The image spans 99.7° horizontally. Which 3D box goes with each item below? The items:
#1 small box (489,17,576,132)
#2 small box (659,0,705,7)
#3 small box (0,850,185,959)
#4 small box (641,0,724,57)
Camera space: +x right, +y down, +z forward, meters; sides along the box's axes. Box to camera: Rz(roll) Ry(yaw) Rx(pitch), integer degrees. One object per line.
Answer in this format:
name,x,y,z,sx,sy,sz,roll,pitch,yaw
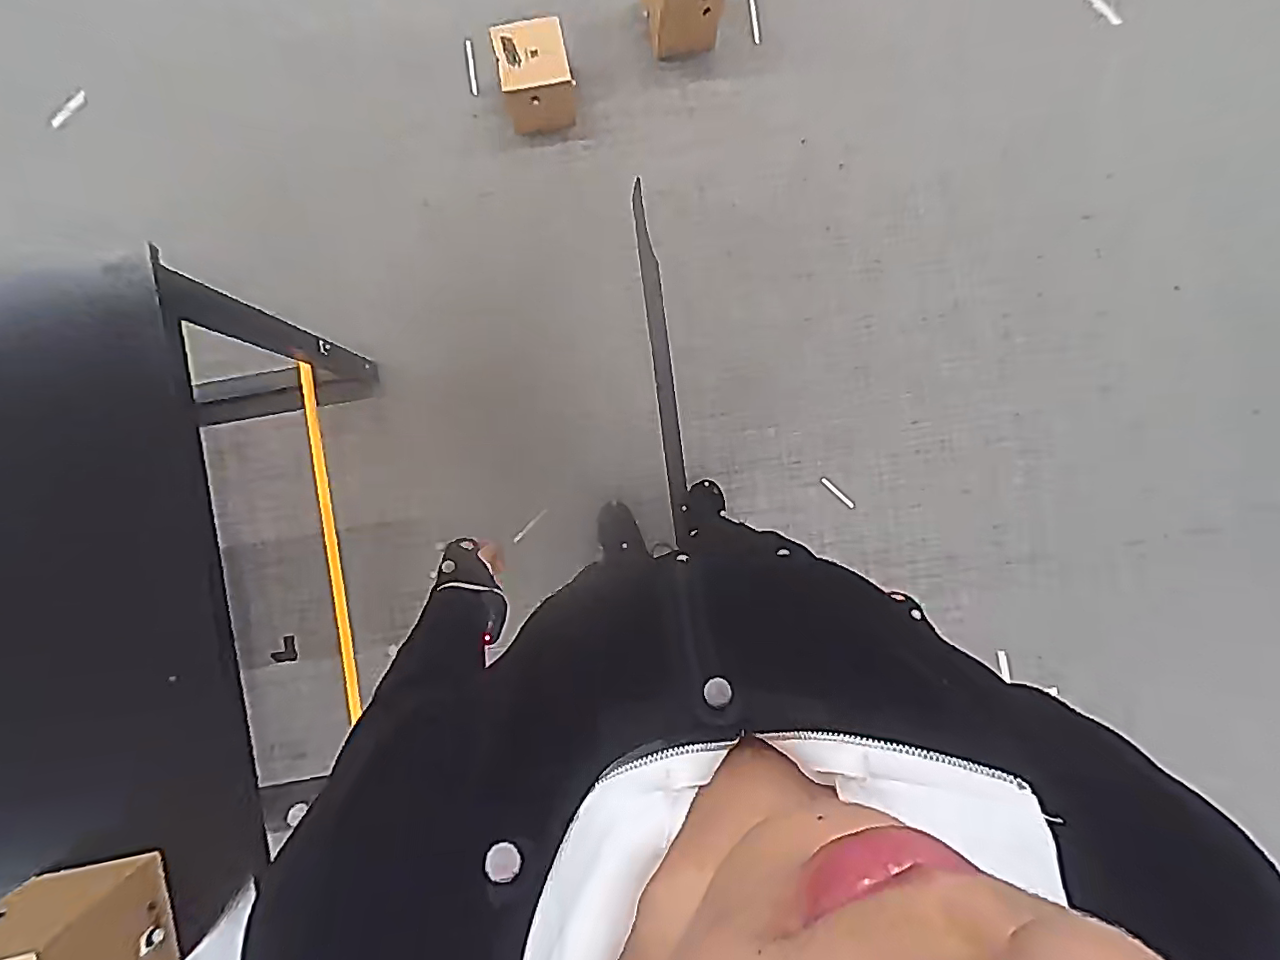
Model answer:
small box,-0.274,-1.049,1.413,0.179,0.176,0.168,-12,91,-2
small box,0.112,-1.263,1.265,0.168,0.176,0.179,-16,91,-2
small box,-0.732,0.609,0.674,0.179,0.176,0.168,-12,91,-2
small box,0.107,-1.272,1.428,0.179,0.176,0.168,-15,90,-2
